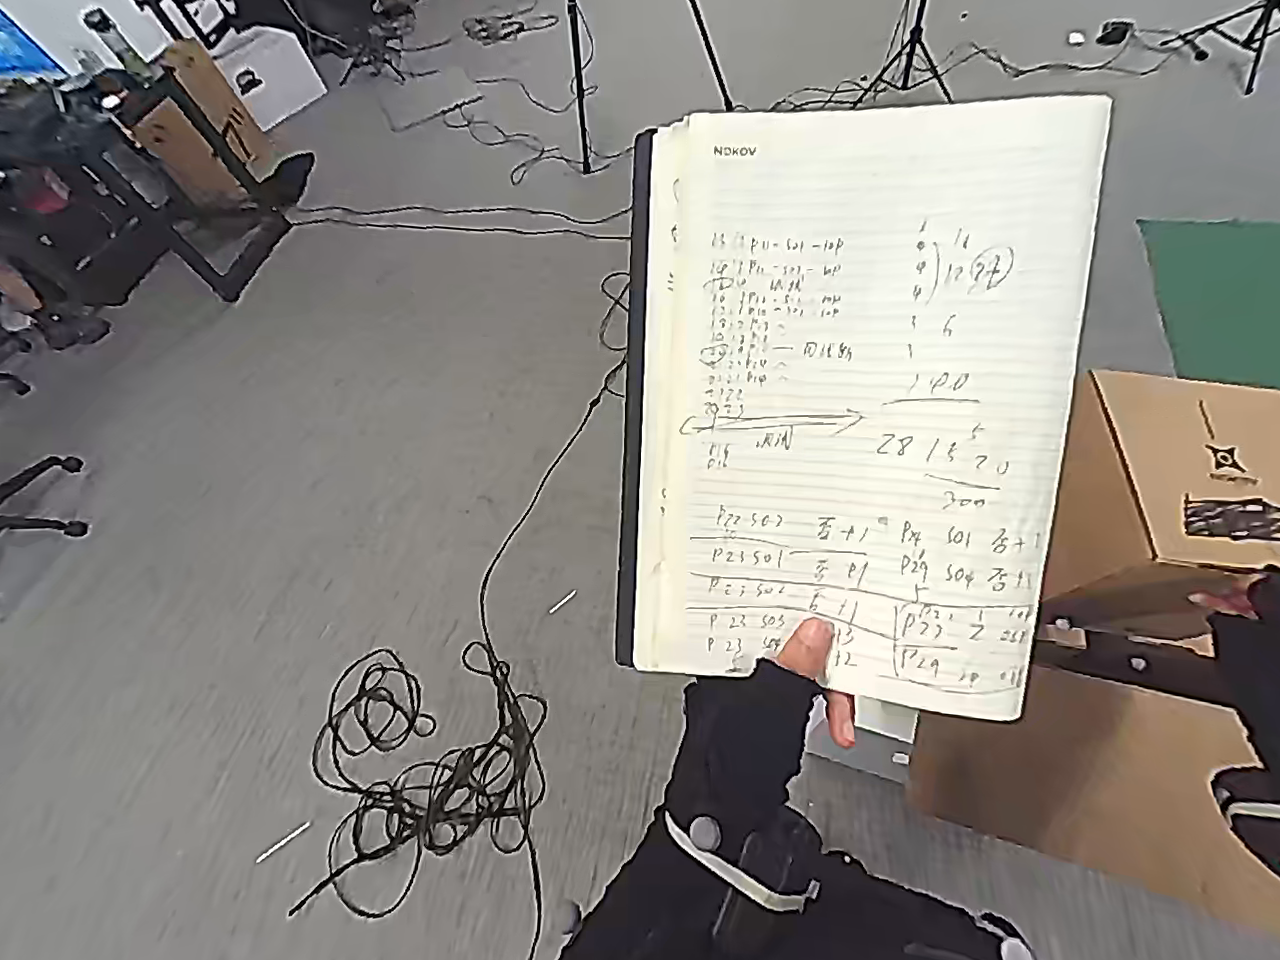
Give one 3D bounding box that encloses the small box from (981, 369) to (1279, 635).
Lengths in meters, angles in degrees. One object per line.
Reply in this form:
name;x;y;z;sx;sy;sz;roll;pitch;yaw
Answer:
small box;0.447;0.029;0.487;0.168;0.176;0.179;8;60;1
